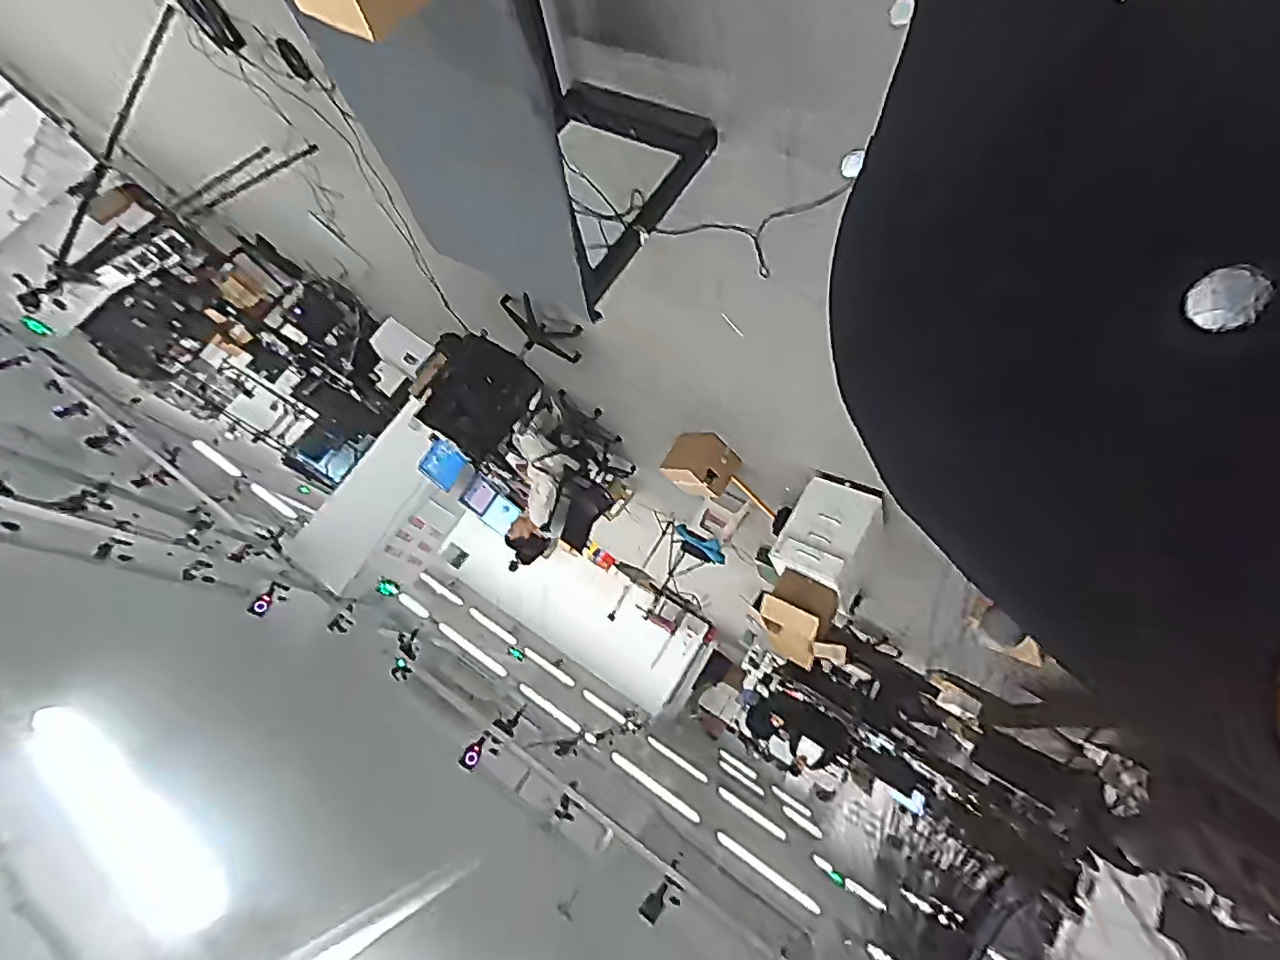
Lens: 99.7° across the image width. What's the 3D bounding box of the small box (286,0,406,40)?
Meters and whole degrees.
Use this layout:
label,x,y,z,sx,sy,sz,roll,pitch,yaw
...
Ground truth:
label,x,y,z,sx,sy,sz,roll,pitch,yaw
small box,-0.420,-0.767,0.739,0.168,0.176,0.179,30,164,13
